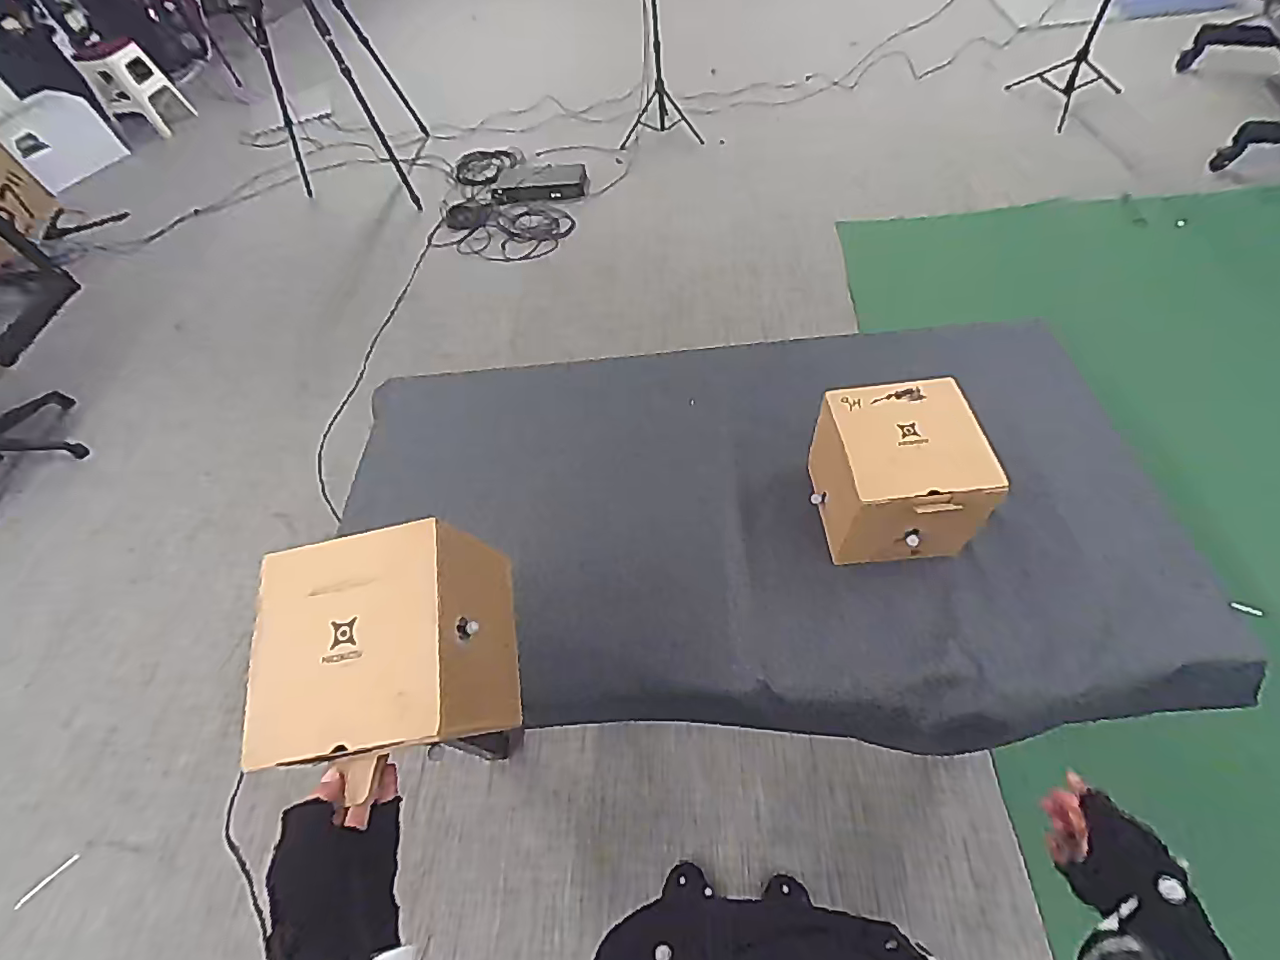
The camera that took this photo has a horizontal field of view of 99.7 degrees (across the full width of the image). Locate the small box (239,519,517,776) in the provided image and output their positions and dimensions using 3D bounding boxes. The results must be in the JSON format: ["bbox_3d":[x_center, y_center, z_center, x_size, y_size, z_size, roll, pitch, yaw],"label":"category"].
[{"bbox_3d":[-0.224,0.156,0.505,0.168,0.176,0.179,-12,67,4],"label":"small box"}]
